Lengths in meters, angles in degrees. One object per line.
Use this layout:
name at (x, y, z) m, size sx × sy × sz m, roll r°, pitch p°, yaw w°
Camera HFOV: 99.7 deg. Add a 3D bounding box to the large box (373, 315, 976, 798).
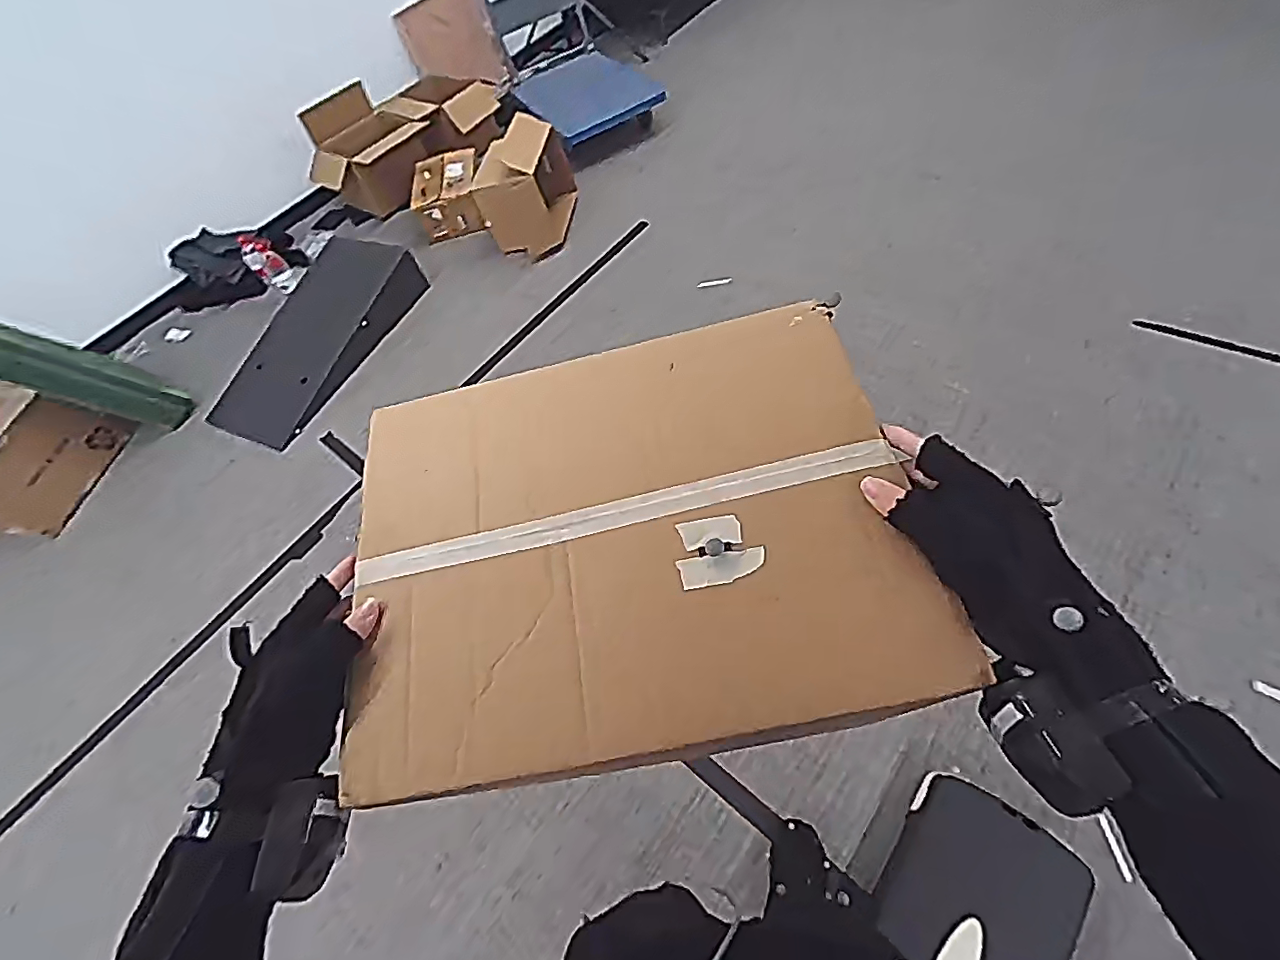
large box at (0.014, 0.099, 0.543) m, size 0.408 × 0.320 × 0.320 m, roll -13°, pitch 62°, yaw 4°
